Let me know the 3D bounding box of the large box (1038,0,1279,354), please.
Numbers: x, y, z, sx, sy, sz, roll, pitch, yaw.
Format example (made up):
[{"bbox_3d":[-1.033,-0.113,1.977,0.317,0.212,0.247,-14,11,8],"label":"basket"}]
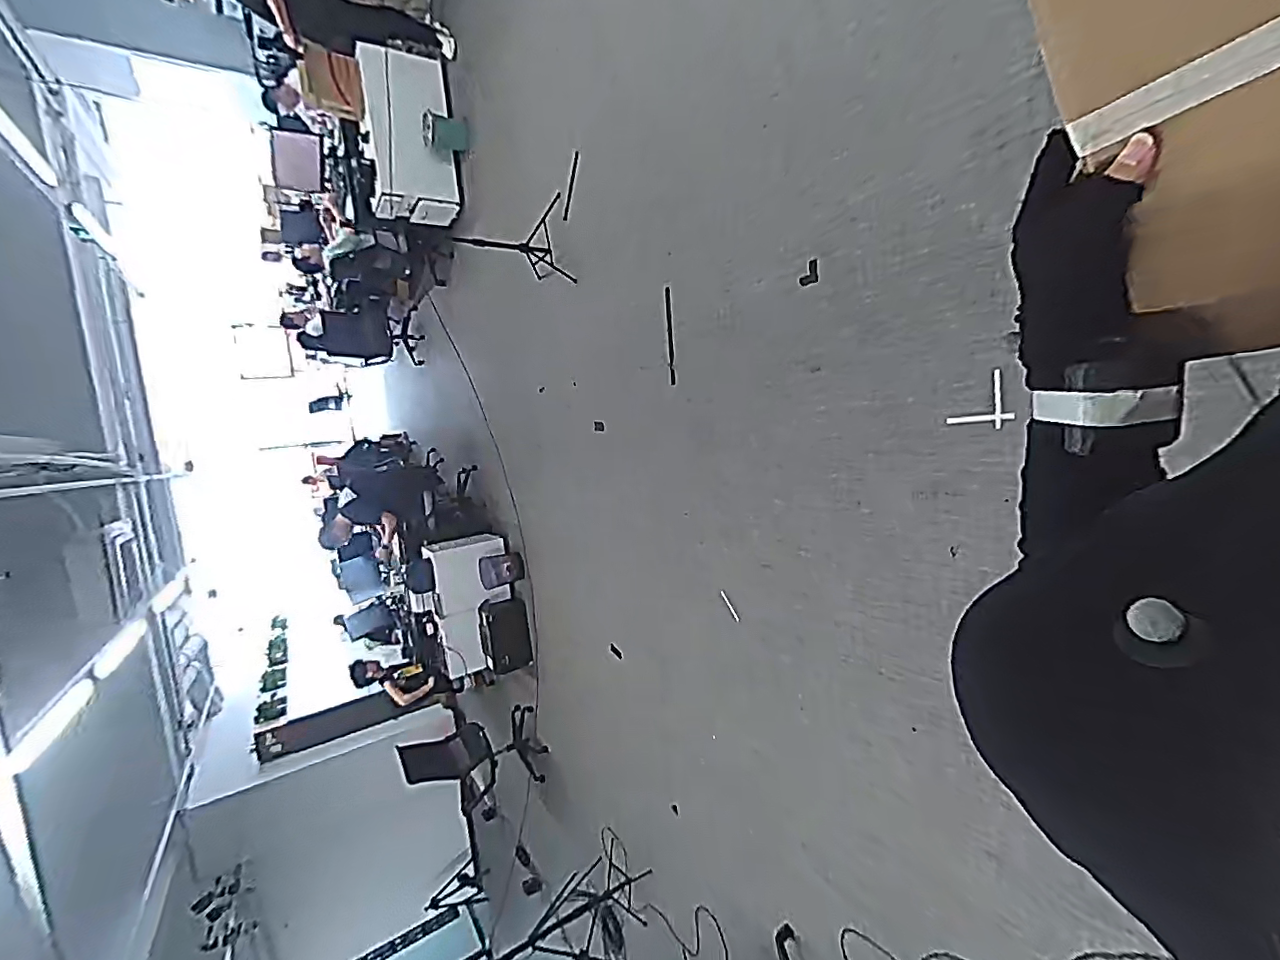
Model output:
[{"bbox_3d":[0.470,-0.301,0.222,0.320,0.320,0.408,57,154,-16],"label":"large box"}]
